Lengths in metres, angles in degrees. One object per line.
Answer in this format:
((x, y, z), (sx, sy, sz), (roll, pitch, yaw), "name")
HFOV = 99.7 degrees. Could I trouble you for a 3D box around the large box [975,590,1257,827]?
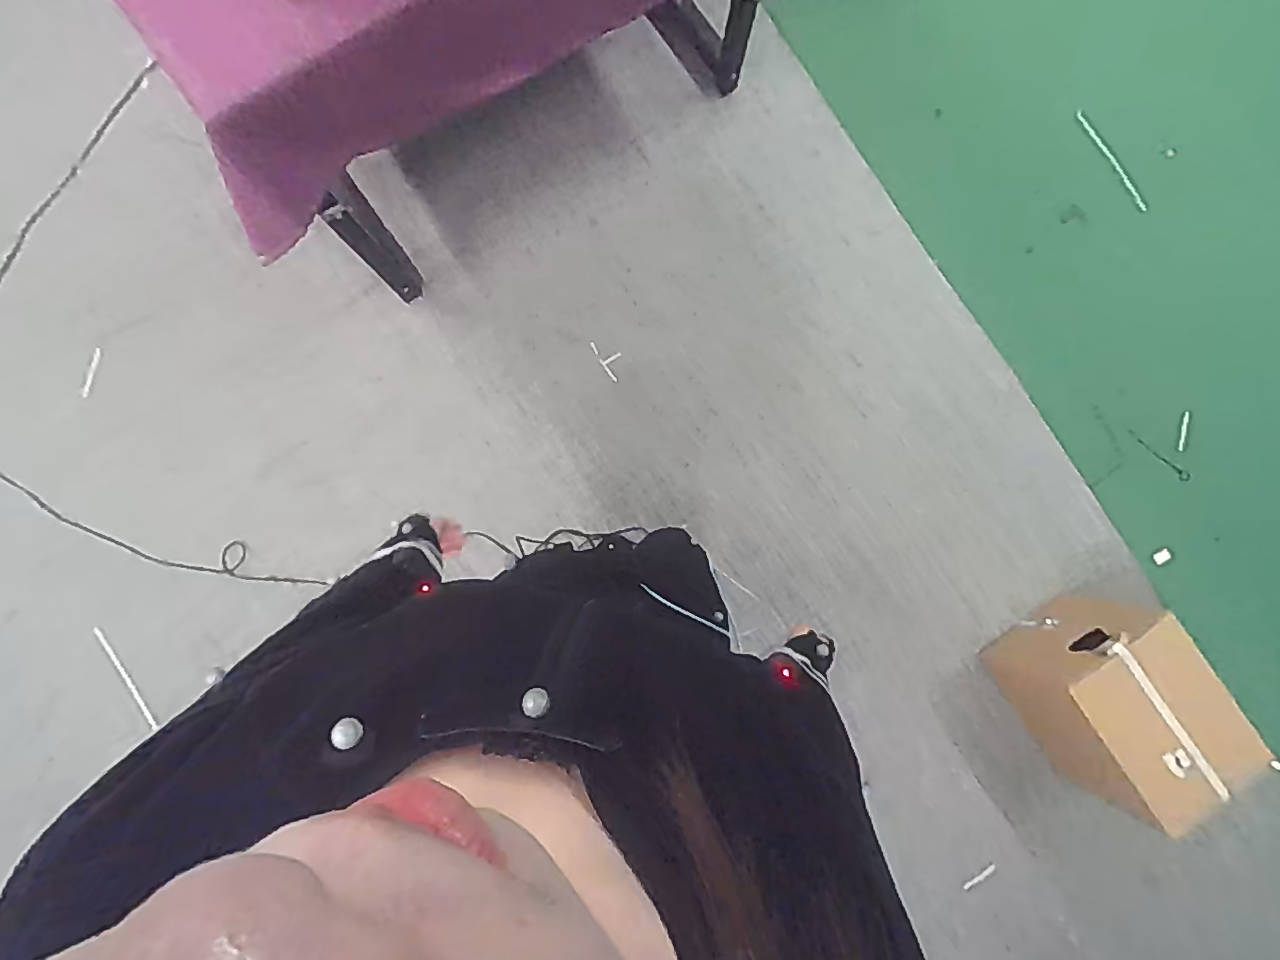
((1.176, 0.547, 1.380), (0.320, 0.320, 0.408), (-33, 89, -4), "large box")
